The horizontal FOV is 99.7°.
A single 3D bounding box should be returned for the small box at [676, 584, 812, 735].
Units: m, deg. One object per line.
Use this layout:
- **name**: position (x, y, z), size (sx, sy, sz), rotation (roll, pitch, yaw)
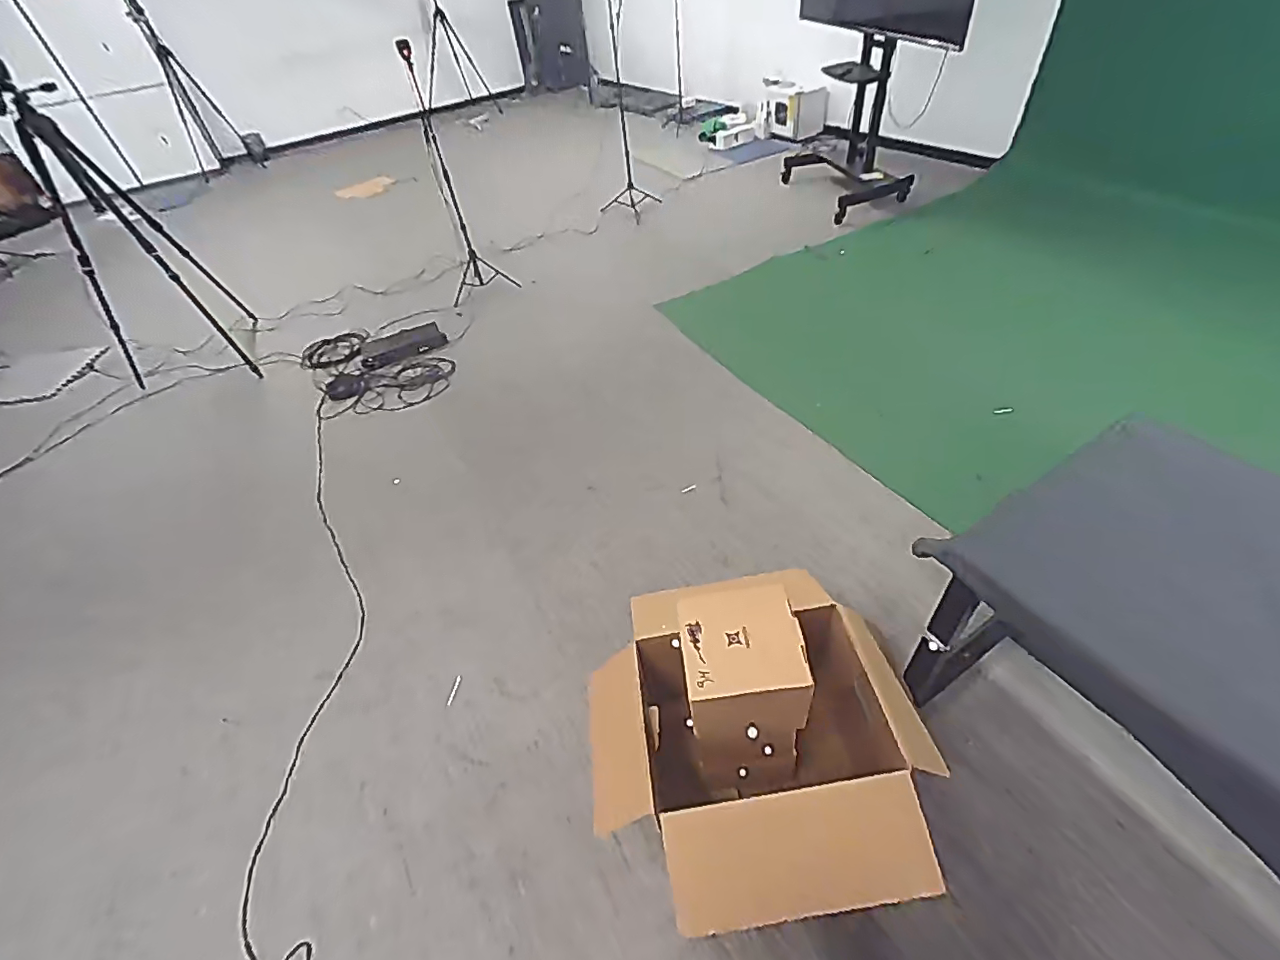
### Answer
- **small box**: position (0.154, 0.286, 0.854), size (0.179, 0.176, 0.168), rotation (-8, 46, 3)
